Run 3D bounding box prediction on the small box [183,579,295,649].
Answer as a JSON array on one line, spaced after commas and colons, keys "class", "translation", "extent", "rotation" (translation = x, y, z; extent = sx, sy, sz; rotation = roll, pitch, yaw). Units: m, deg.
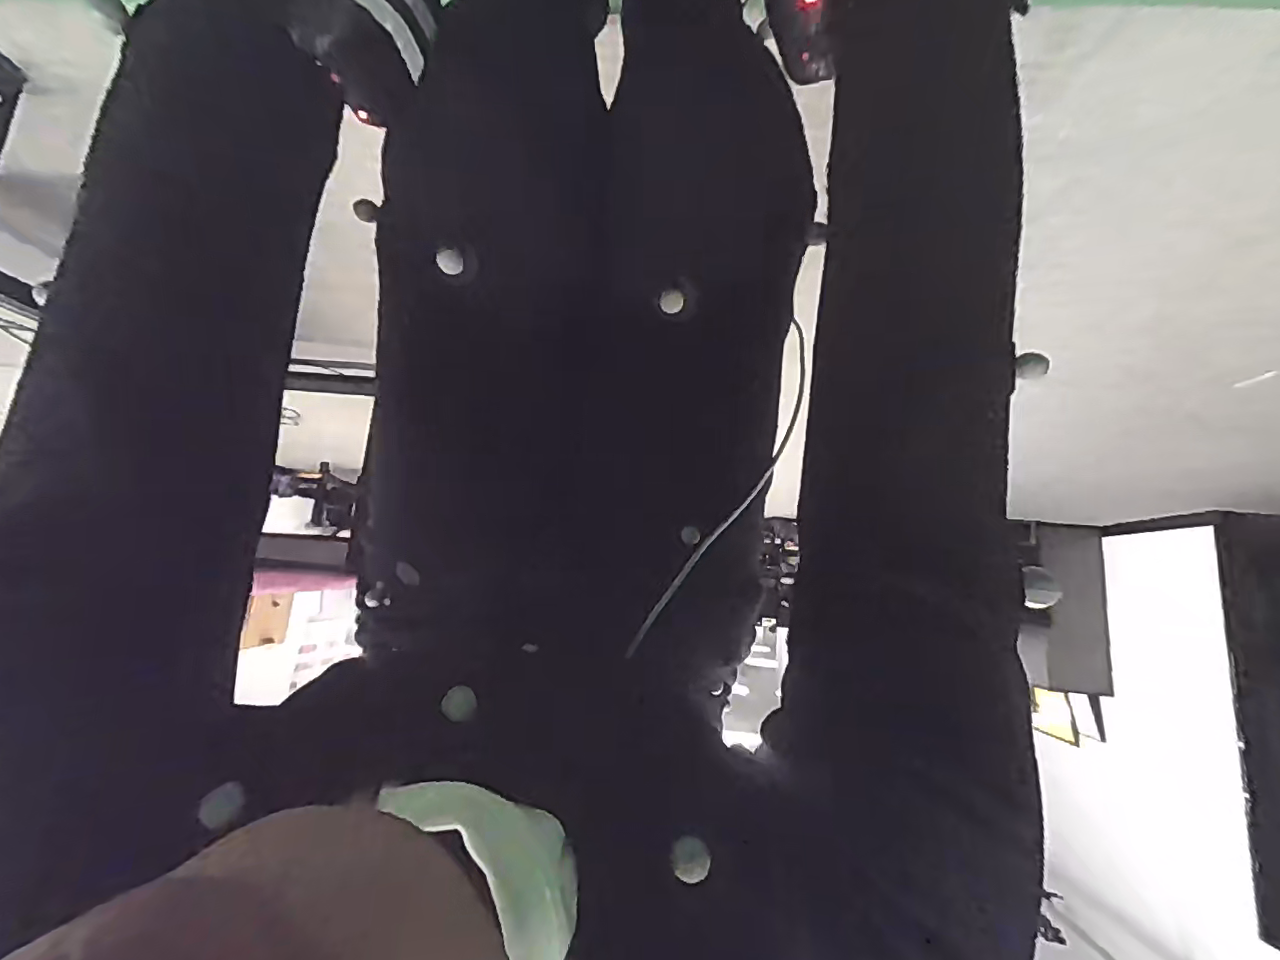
[{"class": "small box", "translation": [-1.106, 0.367, 1.507], "extent": [0.179, 0.176, 0.168], "rotation": [5, 169, 3]}]
